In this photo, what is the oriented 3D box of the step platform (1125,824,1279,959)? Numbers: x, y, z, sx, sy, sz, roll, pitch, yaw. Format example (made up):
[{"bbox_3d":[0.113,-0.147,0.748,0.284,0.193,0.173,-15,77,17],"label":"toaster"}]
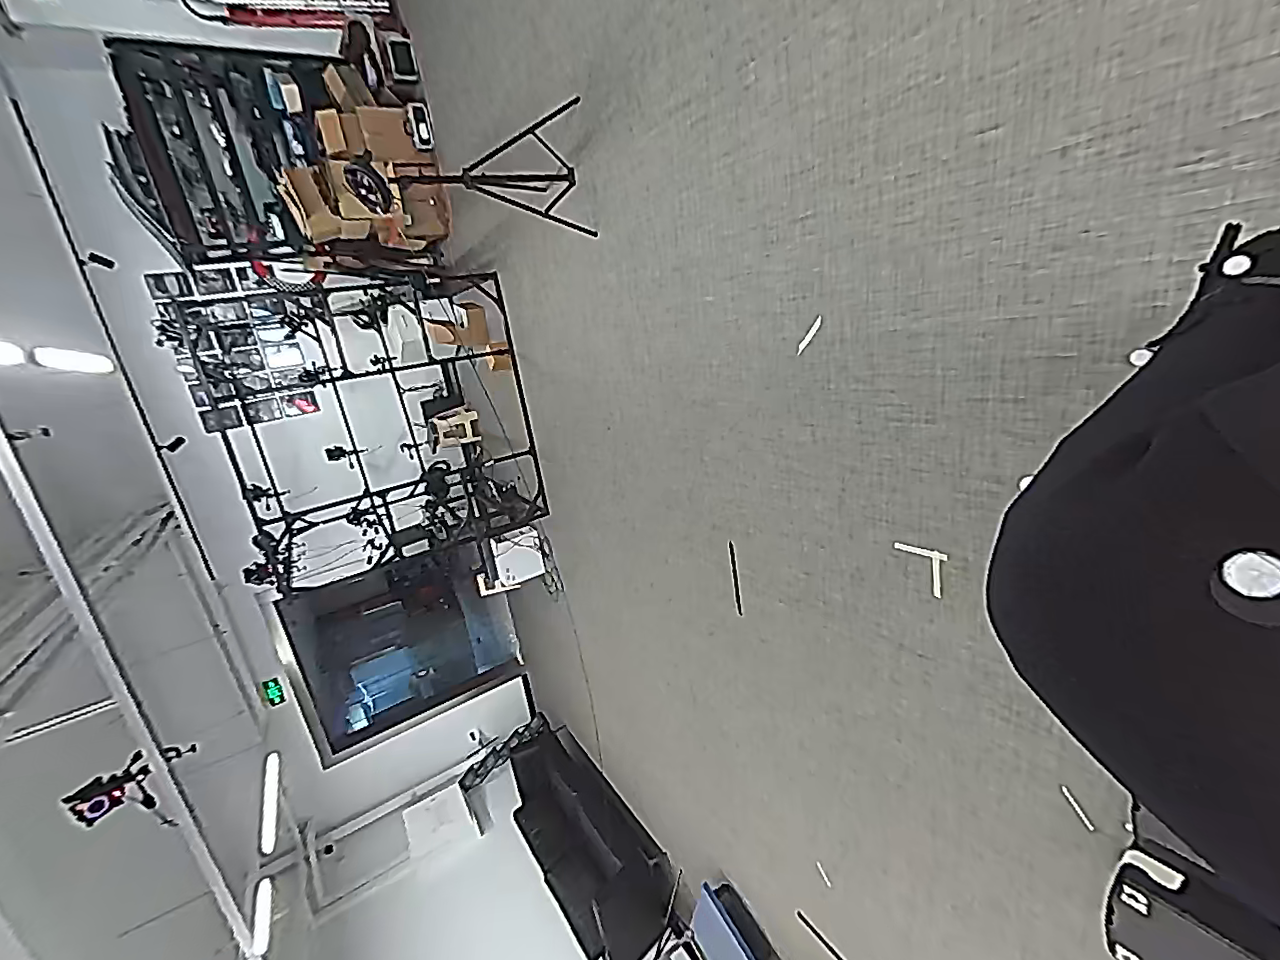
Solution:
[{"bbox_3d":[1.415,1.049,1.066,0.684,0.204,0.286,17,120,58],"label":"step platform"}]
